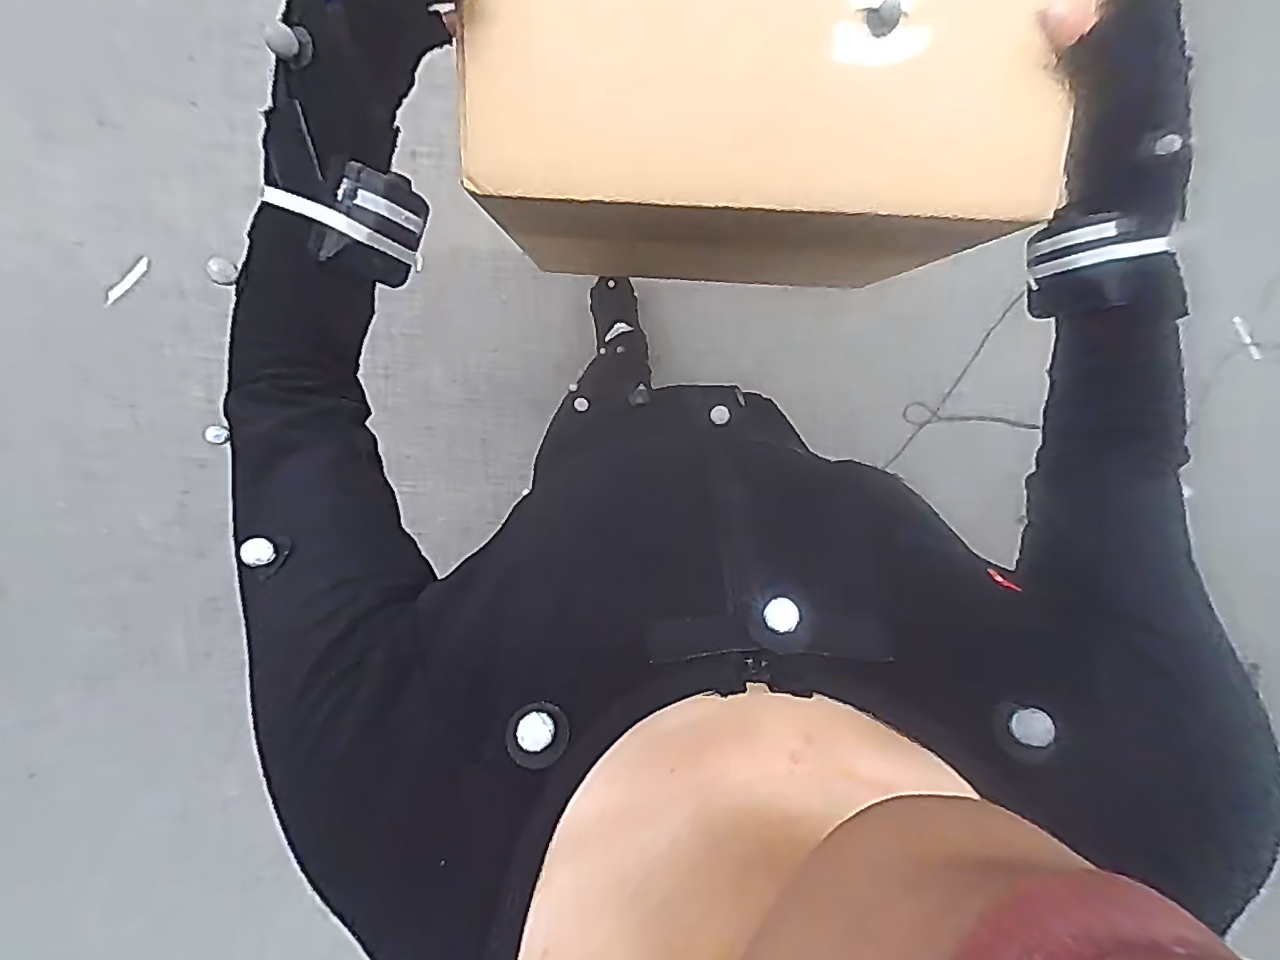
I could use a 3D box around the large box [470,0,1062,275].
[{"bbox_3d":[0.080,-0.381,0.498,0.408,0.320,0.320,2,102,-2],"label":"large box"}]
